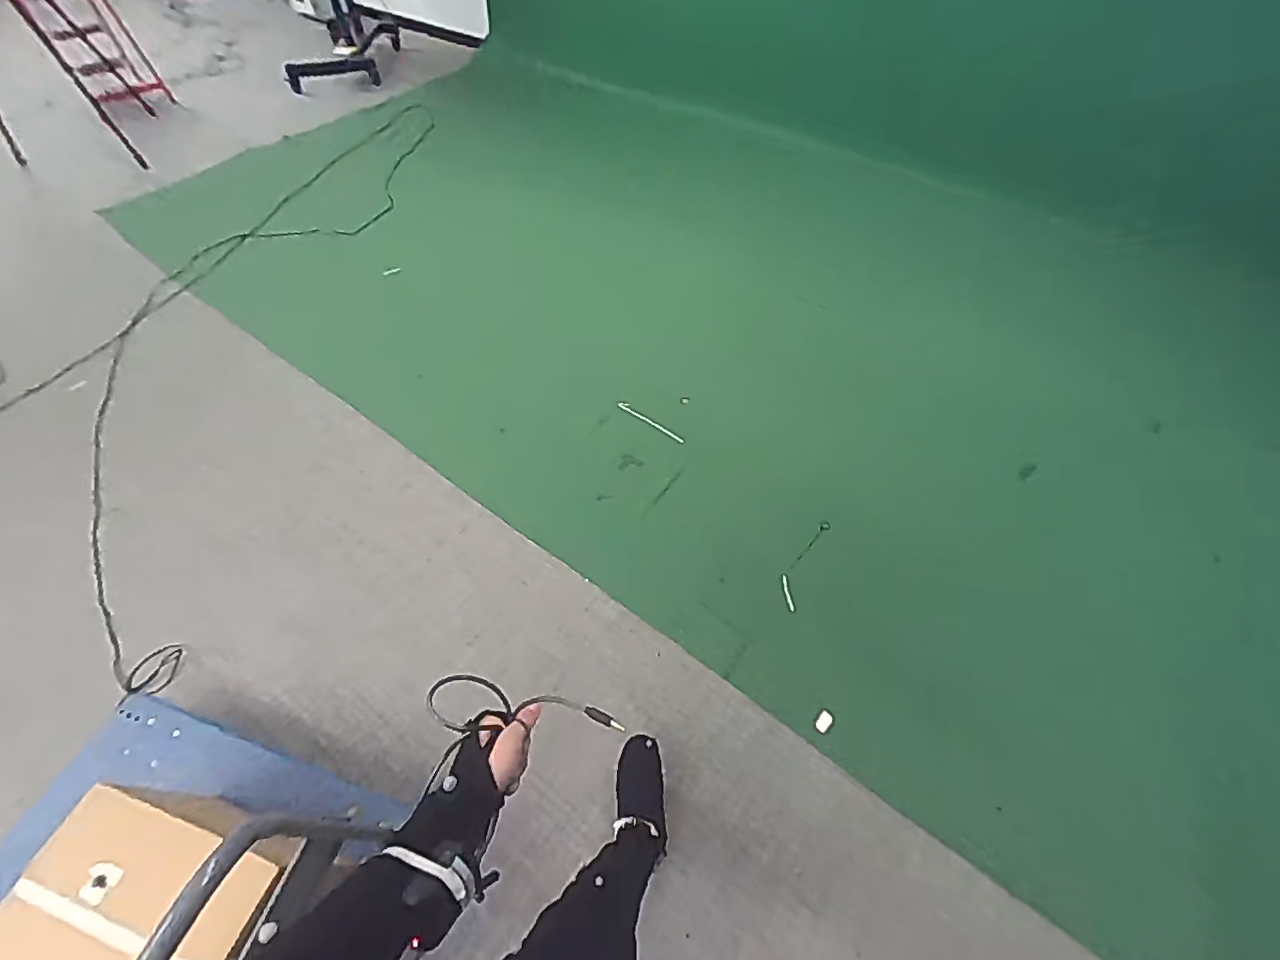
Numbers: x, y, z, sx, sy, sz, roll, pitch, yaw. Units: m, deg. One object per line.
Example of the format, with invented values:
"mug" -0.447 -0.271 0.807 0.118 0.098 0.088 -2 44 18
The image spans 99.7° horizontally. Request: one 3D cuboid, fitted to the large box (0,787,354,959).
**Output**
"large box" -0.829 0.798 0.972 0.408 0.320 0.320 15 56 12
